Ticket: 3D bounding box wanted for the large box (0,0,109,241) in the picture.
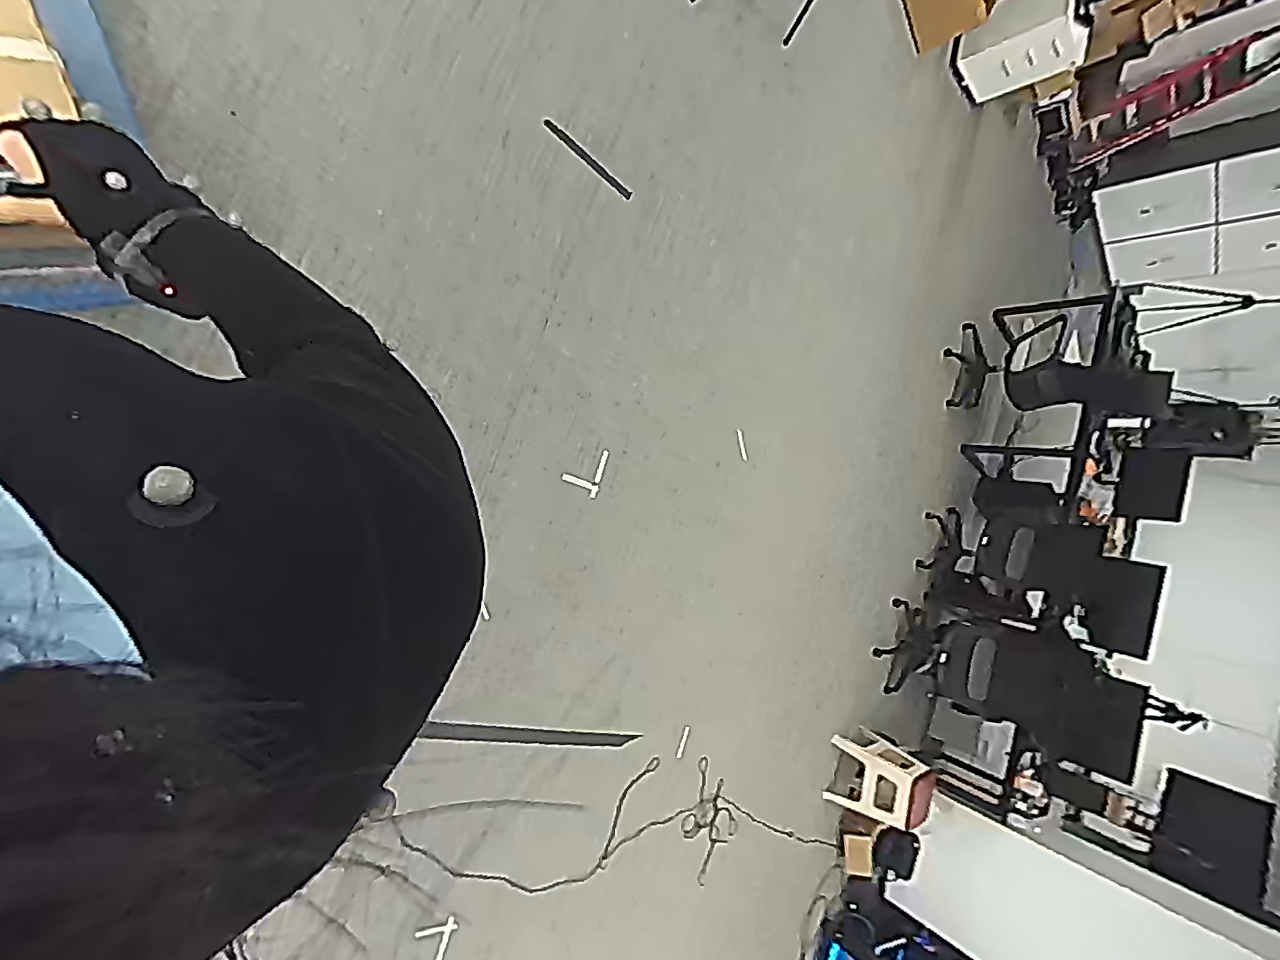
[{"bbox_3d":[-0.992,-0.491,0.671,0.408,0.320,0.320,-23,111,-39],"label":"large box"}]
